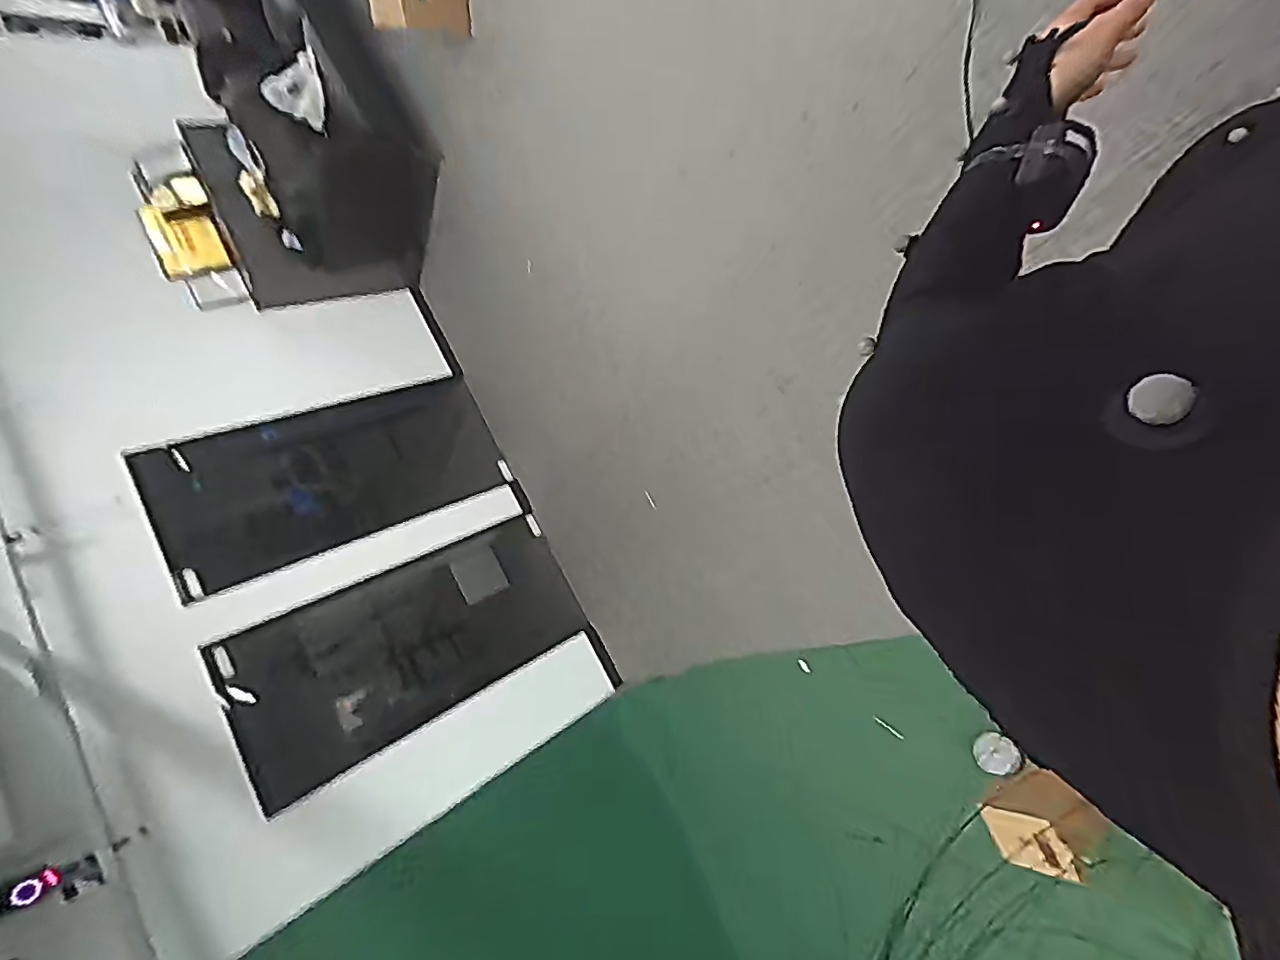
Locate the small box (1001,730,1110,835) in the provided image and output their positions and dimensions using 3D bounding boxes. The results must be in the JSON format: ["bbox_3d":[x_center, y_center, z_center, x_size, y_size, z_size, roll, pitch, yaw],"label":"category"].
[{"bbox_3d":[1.146,0.820,1.490,0.168,0.176,0.179,-26,88,57],"label":"small box"}]
